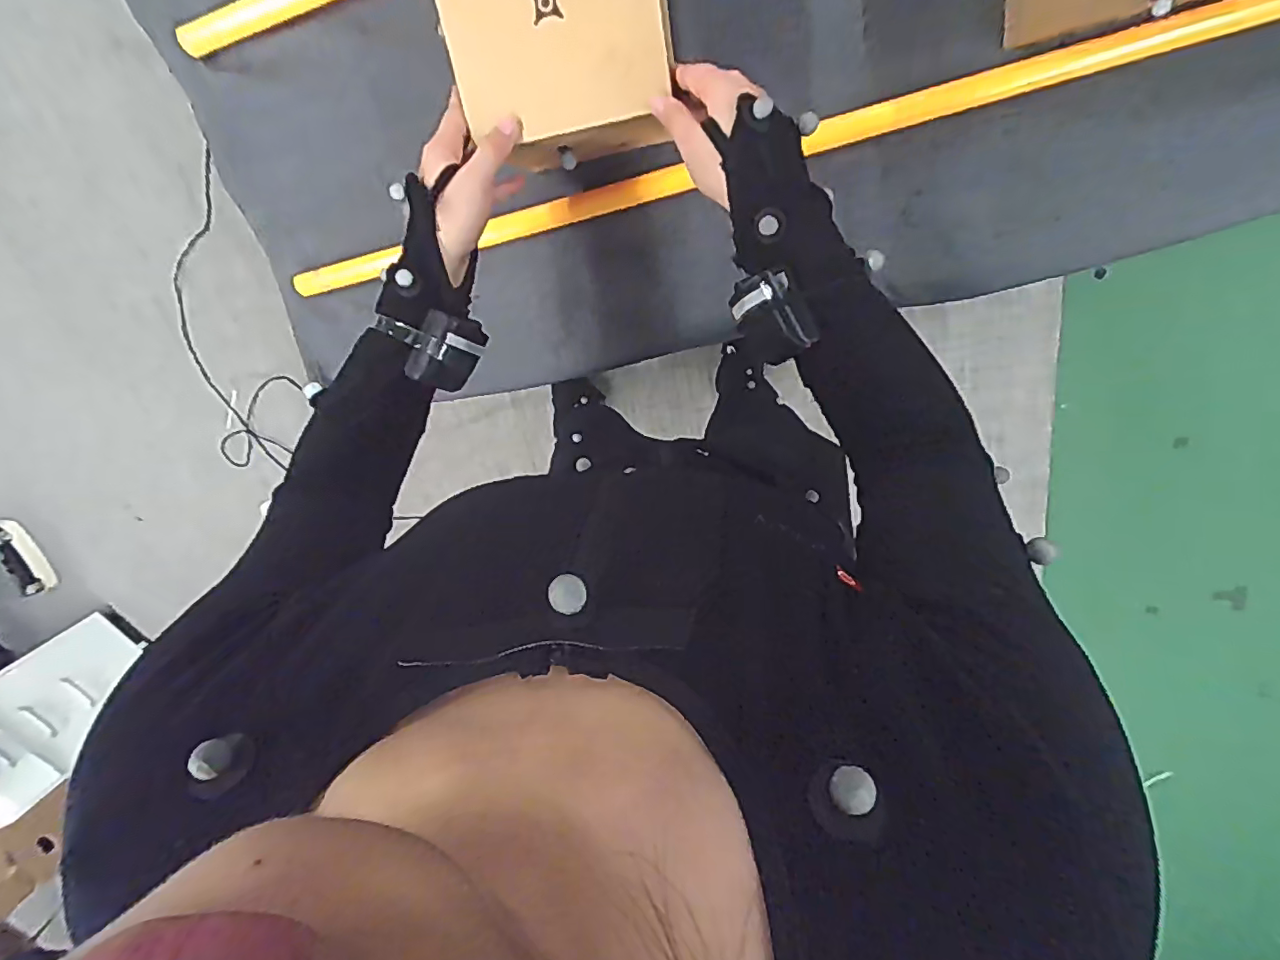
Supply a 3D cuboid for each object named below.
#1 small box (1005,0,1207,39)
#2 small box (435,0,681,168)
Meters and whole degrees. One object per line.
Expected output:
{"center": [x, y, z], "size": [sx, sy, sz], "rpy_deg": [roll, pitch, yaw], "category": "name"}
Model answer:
{"center": [0.377, -0.437, 0.368], "size": [0.168, 0.176, 0.179], "rpy_deg": [-6, 114, 13], "category": "small box"}
{"center": [-0.059, -0.381, 0.463], "size": [0.168, 0.176, 0.179], "rpy_deg": [-7, 114, 10], "category": "small box"}
